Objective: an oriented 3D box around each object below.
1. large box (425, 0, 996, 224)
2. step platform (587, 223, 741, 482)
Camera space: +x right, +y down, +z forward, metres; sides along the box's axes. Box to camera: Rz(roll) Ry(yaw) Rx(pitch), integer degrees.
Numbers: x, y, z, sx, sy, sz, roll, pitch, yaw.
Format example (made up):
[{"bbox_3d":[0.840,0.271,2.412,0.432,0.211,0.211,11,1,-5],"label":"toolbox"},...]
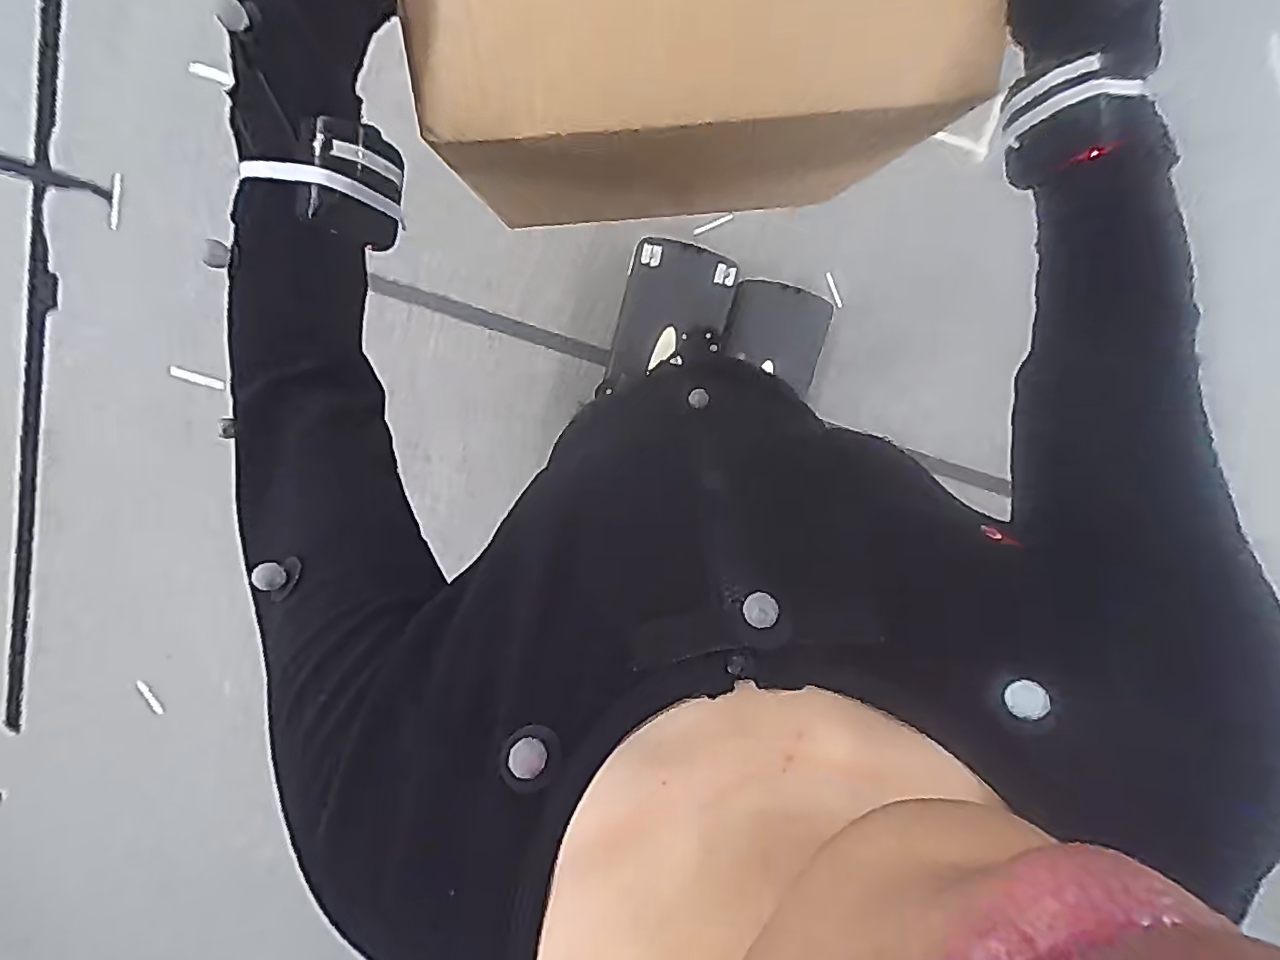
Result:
[{"bbox_3d":[0.035,-0.447,0.494,0.408,0.320,0.320,-6,106,-2],"label":"large box"},{"bbox_3d":[0.057,-0.337,1.514,0.286,0.204,0.684,13,101,-4],"label":"step platform"}]
